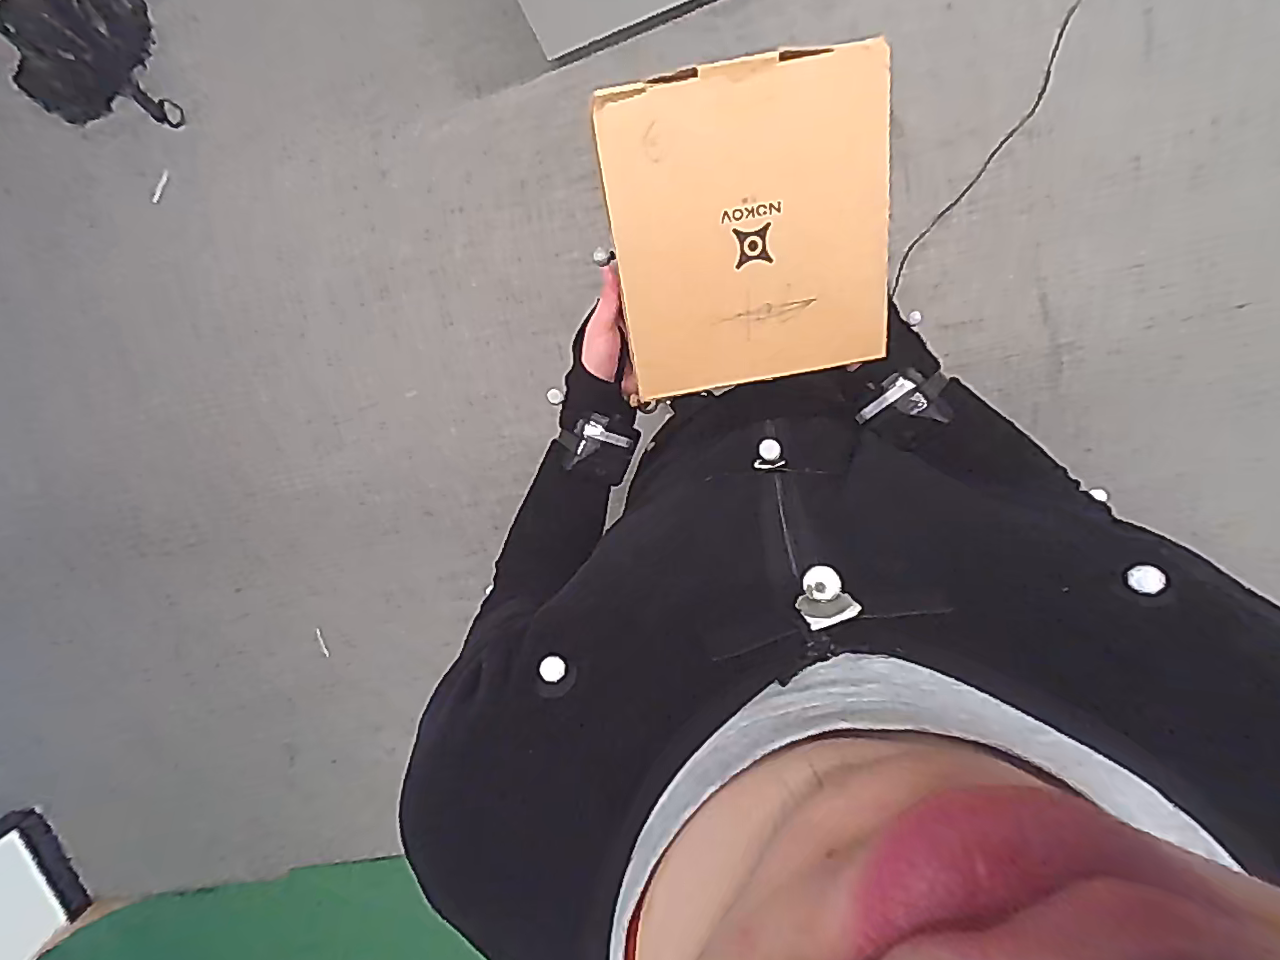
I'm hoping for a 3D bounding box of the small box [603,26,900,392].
[{"bbox_3d":[0.067,-0.180,0.394,0.168,0.176,0.179,-10,114,1],"label":"small box"}]
